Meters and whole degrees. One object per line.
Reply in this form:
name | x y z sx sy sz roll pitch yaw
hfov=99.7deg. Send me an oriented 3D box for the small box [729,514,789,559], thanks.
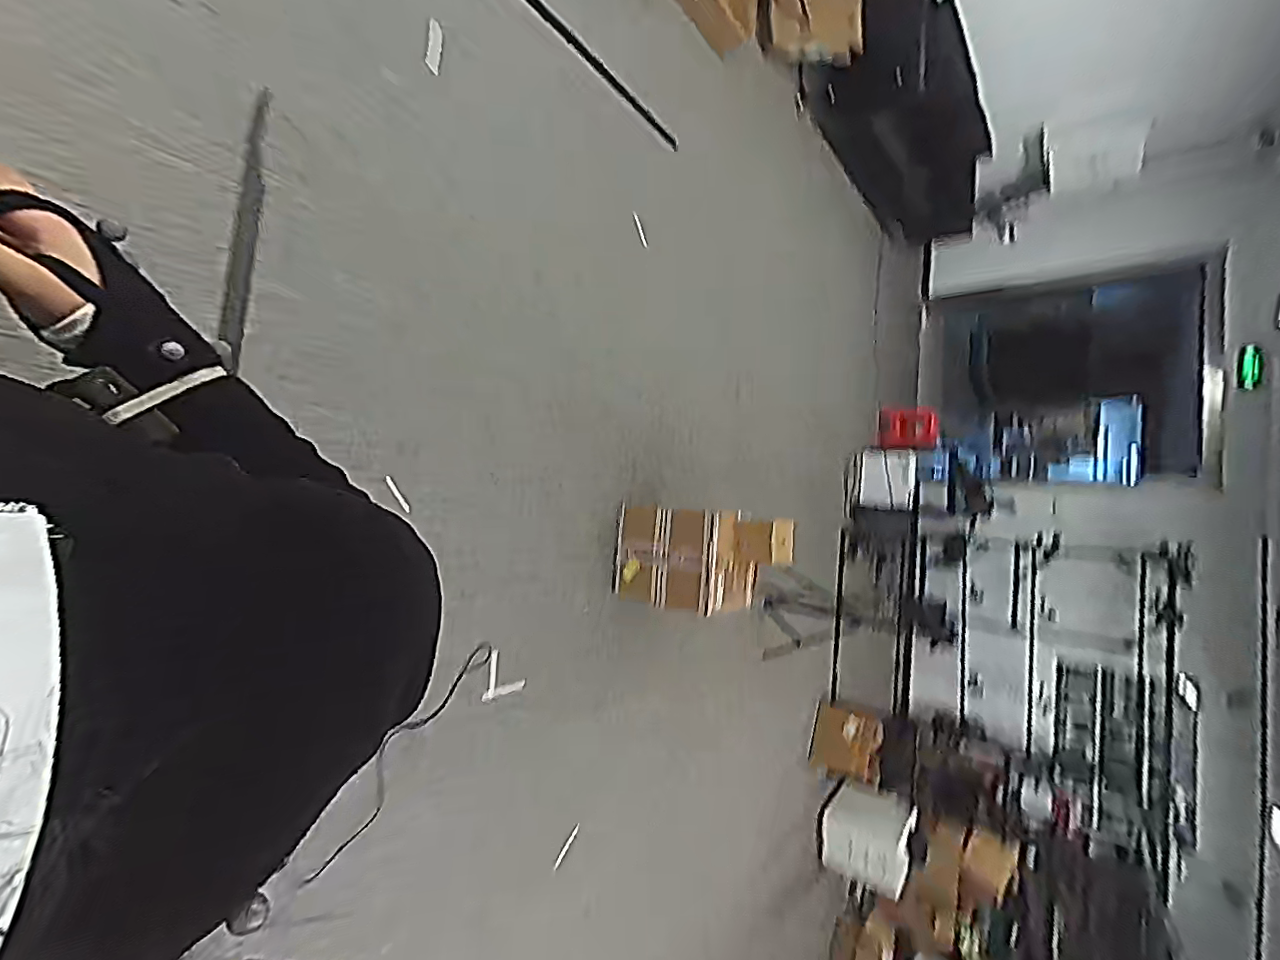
small box | 0.475 0.224 2.155 0.179 0.176 0.168 7 84 -48
